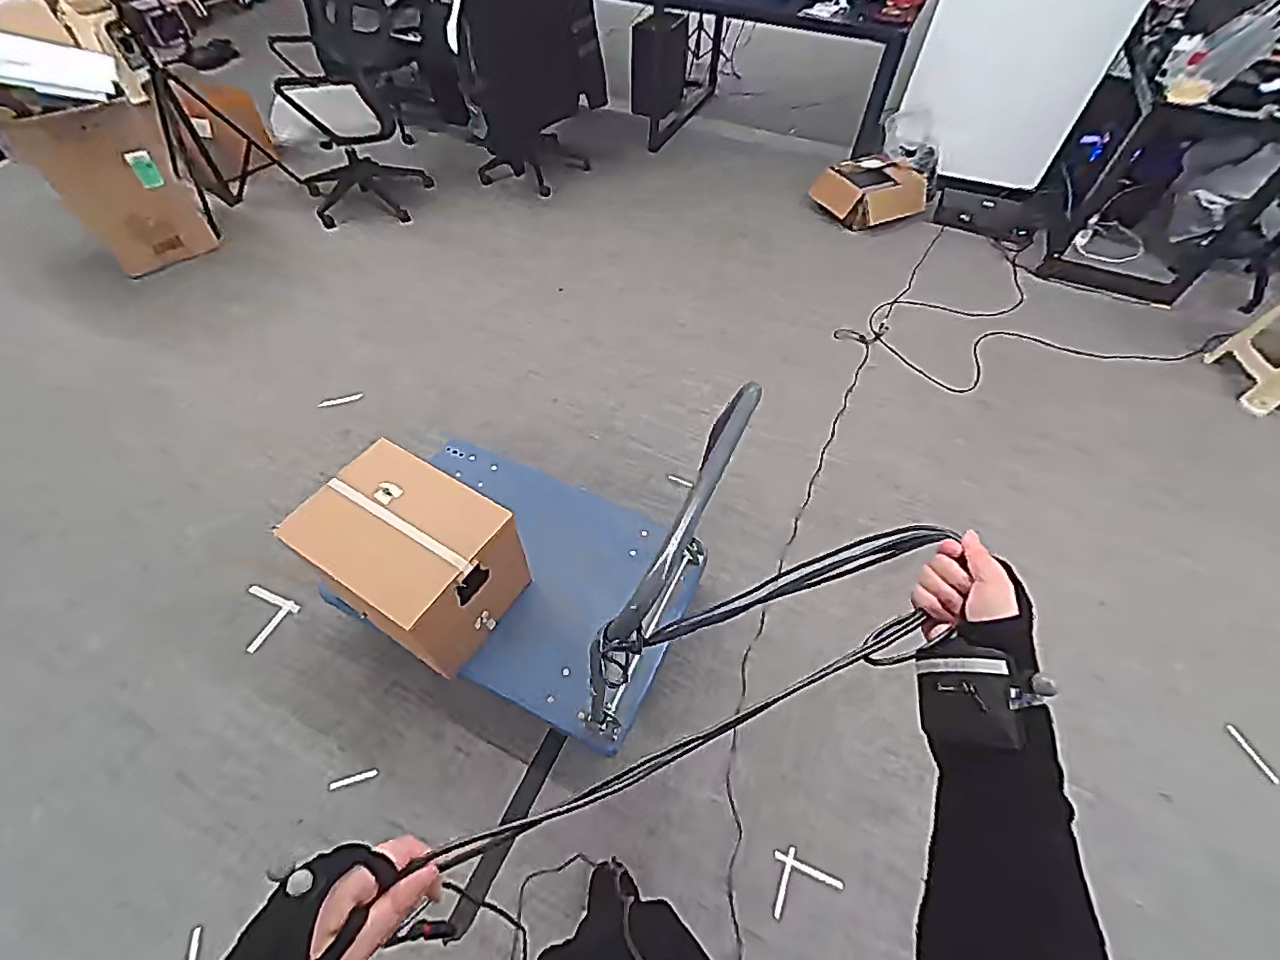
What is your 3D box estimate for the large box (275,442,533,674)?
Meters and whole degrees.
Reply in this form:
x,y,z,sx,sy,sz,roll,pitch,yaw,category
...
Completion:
x,y,z,sx,sy,sz,roll,pitch,yaw,category
-0.516,0.183,1.264,0.408,0.320,0.320,27,57,18,large box
